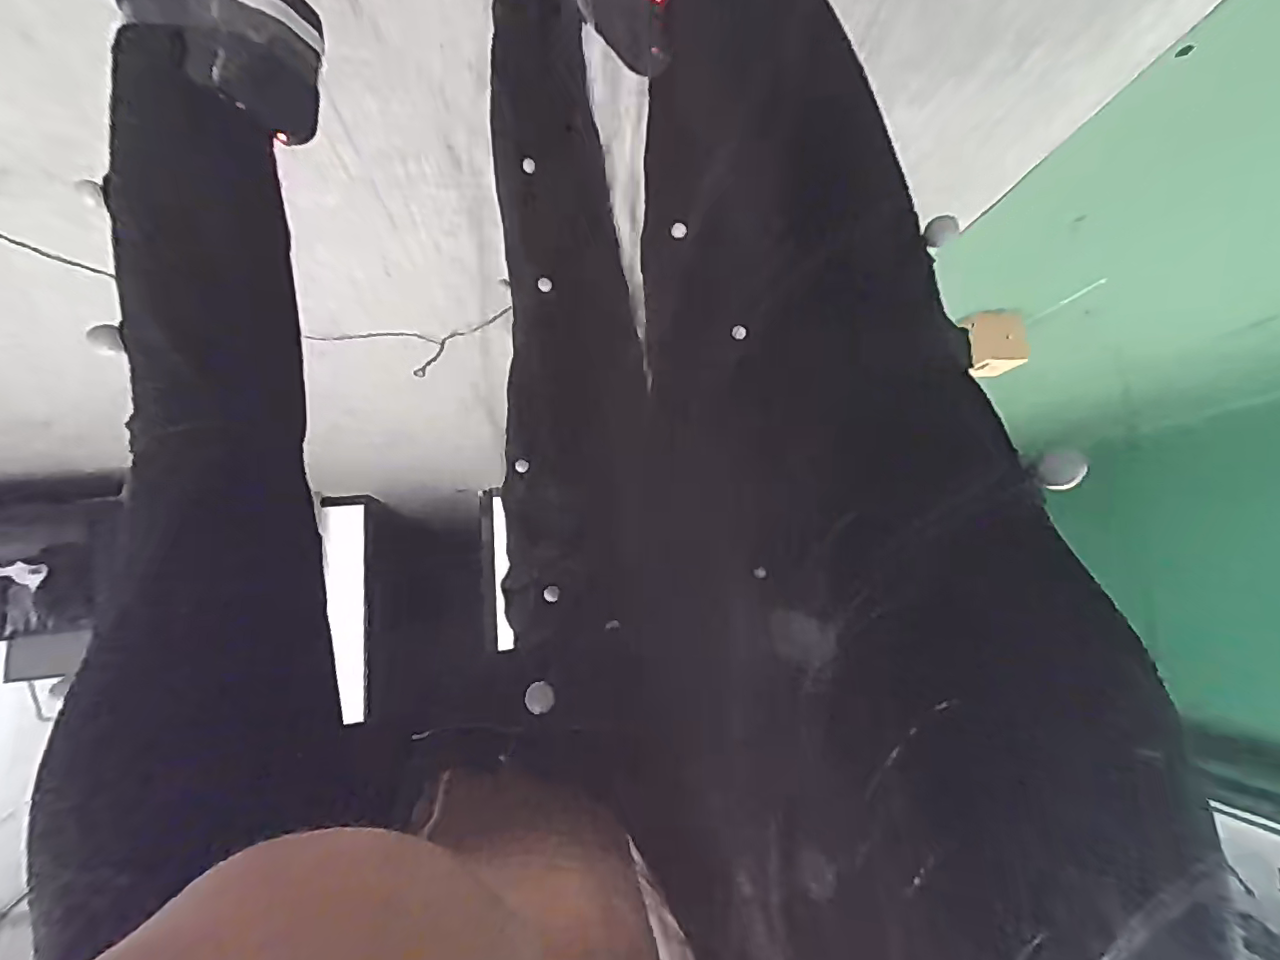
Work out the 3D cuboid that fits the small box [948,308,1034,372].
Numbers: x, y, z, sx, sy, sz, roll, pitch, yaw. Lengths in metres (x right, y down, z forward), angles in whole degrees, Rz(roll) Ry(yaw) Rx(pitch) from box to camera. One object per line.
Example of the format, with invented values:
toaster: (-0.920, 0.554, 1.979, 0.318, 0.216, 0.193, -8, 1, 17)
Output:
small box: (1.210, -0.487, 1.878, 0.179, 0.176, 0.168, -4, 171, -9)
